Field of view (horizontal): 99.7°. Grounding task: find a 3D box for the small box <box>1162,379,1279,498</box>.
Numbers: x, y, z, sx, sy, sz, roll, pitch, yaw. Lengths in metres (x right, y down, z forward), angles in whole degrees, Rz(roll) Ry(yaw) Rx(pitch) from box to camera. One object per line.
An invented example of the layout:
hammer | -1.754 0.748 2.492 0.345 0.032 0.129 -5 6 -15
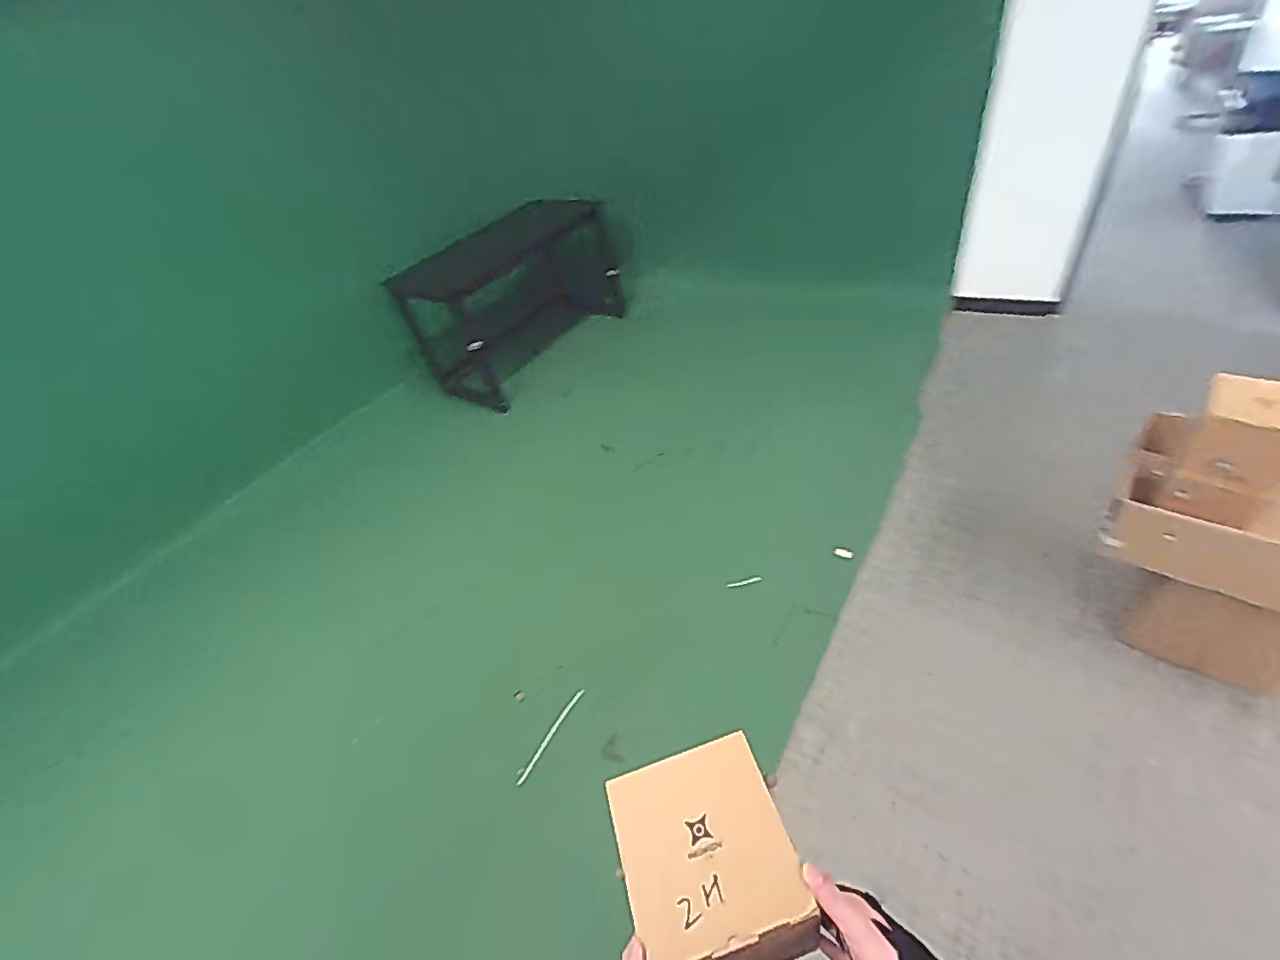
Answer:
small box | 1.314 -0.093 1.203 0.168 0.176 0.179 25 55 34

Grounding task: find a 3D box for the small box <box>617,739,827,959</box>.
small box | 0.083 0.424 0.588 0.168 0.176 0.179 -17 40 -4
